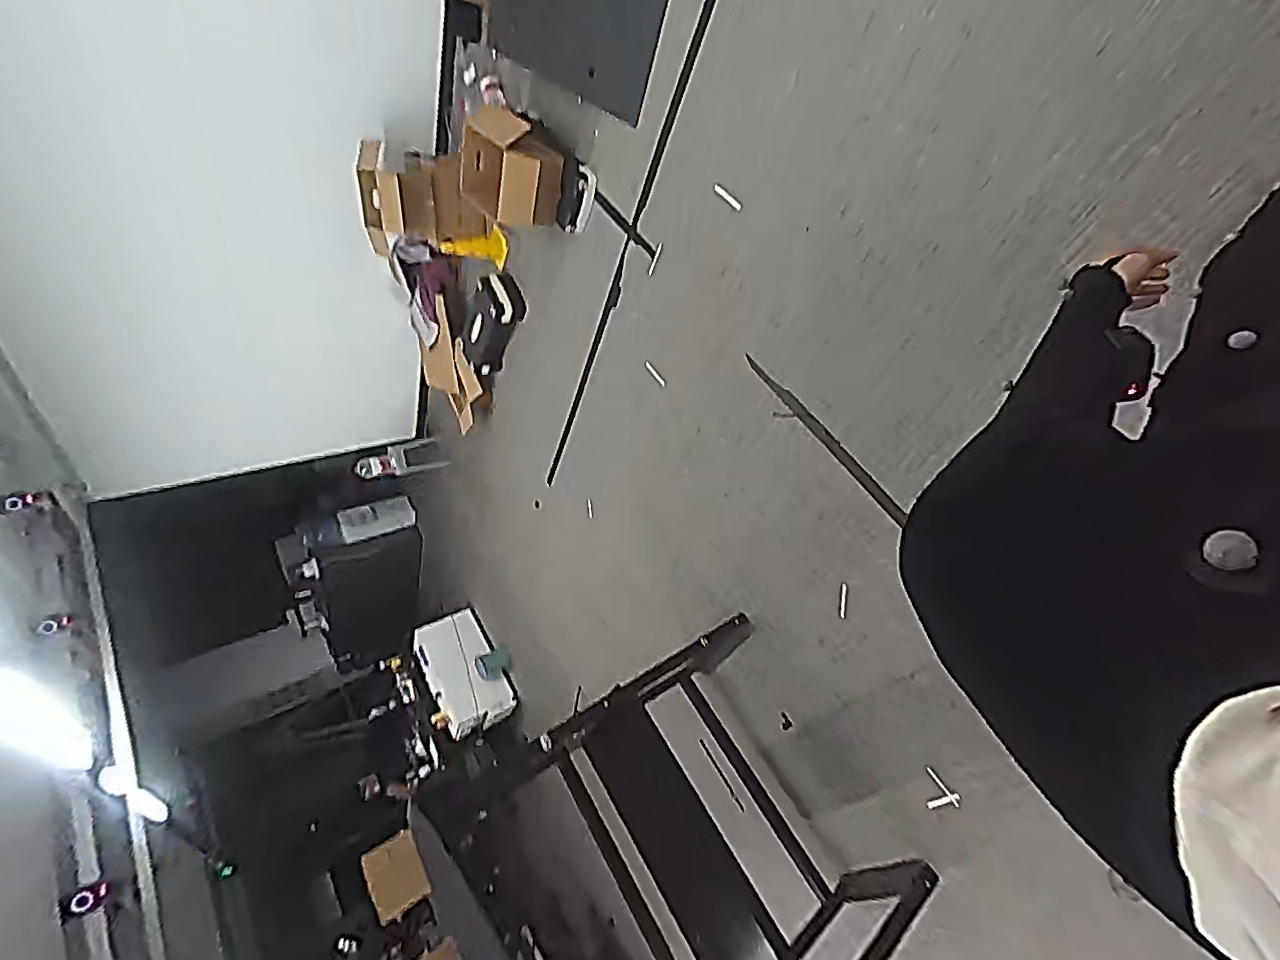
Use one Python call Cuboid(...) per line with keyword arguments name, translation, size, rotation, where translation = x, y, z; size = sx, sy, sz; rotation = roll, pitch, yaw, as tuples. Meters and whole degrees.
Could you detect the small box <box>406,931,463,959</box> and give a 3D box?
Cuboid(name="small box", translation=(-0.641, 1.555, 1.691), size=(0.179, 0.176, 0.168), rotation=(54, 140, 24))
